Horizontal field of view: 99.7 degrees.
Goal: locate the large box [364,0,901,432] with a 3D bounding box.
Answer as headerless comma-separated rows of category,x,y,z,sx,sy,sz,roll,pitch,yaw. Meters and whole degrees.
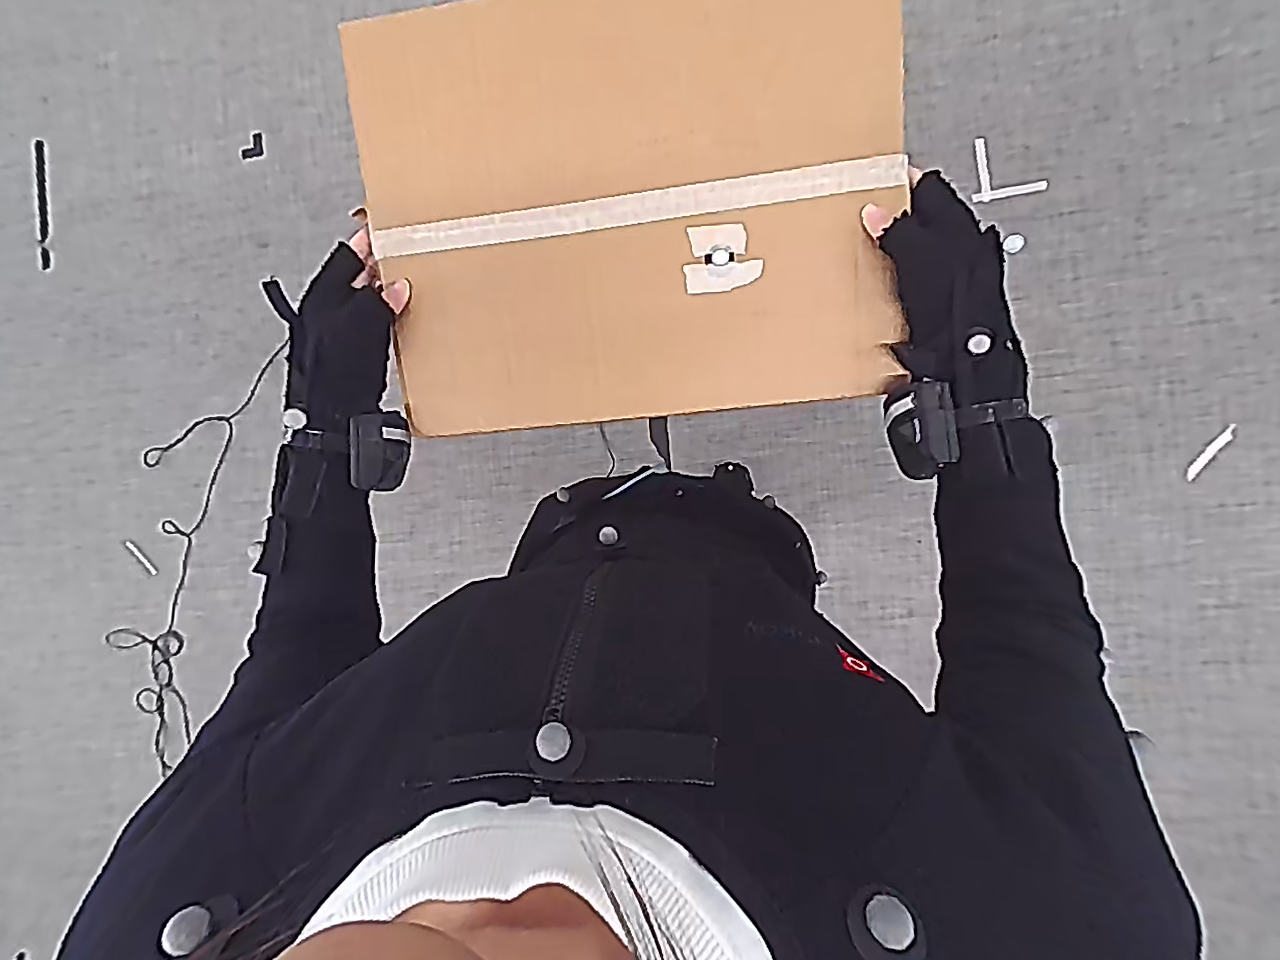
large box,0.006,-0.237,0.571,0.408,0.320,0.320,-5,100,6
